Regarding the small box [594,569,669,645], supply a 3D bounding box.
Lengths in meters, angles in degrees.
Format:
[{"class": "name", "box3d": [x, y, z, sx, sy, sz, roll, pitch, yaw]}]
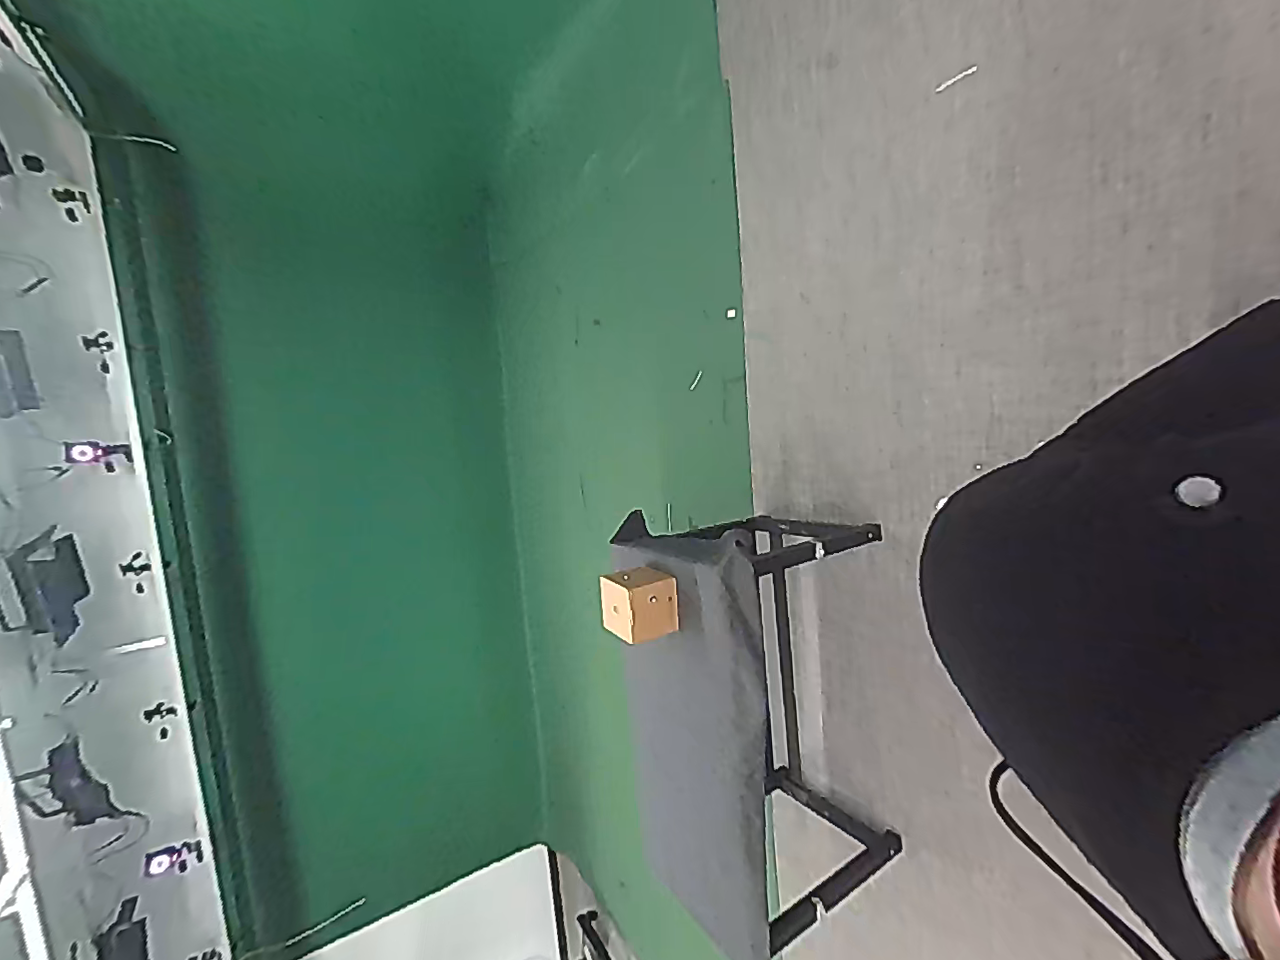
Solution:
[{"class": "small box", "box3d": [-0.022, 0.374, 1.635, 0.179, 0.176, 0.168, 7, 102, 58]}]
